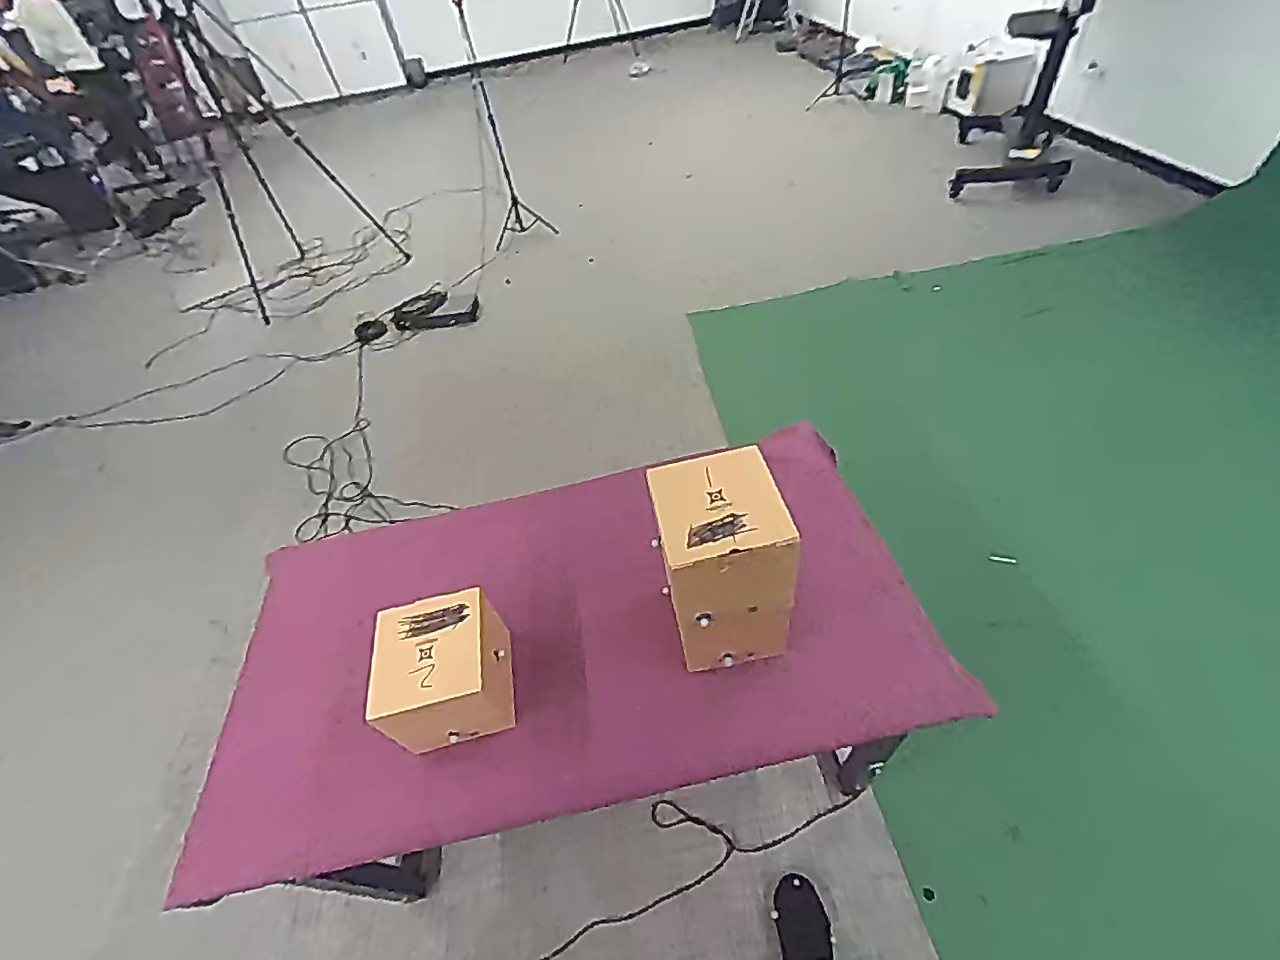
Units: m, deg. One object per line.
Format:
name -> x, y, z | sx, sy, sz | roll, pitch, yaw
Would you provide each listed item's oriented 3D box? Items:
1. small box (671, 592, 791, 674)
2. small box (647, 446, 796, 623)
small box -> 0.137, 0.190, 0.889 | 0.168, 0.176, 0.179 | -12, 47, 1
small box -> 0.113, 0.084, 0.767 | 0.168, 0.176, 0.179 | -13, 46, 1
